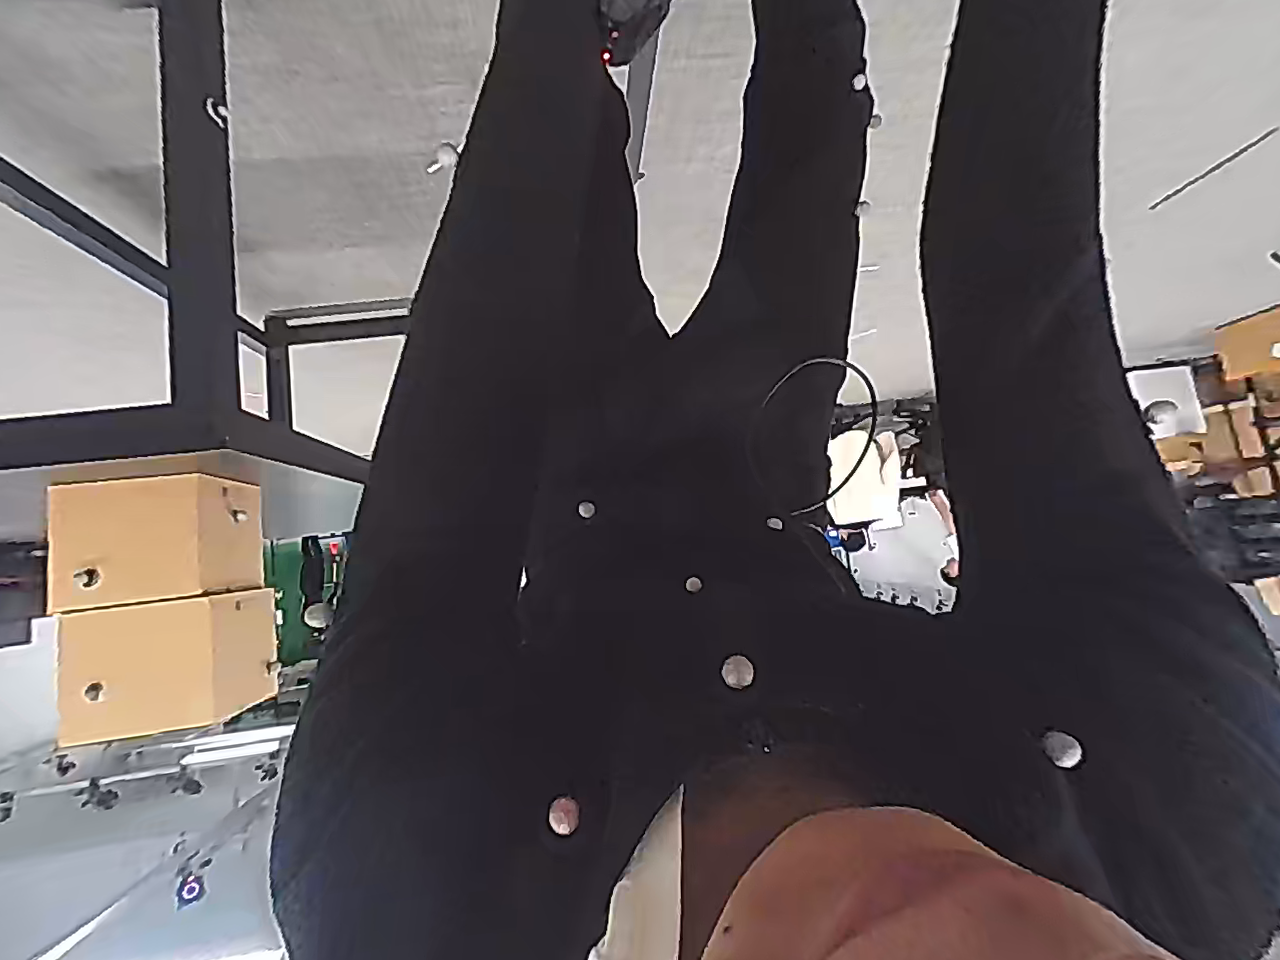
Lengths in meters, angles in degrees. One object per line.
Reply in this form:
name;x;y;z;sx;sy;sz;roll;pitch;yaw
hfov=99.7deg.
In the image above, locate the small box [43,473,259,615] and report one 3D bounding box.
small box;-0.681;0.090;0.774;0.179;0.176;0.168;-6;174;-10
